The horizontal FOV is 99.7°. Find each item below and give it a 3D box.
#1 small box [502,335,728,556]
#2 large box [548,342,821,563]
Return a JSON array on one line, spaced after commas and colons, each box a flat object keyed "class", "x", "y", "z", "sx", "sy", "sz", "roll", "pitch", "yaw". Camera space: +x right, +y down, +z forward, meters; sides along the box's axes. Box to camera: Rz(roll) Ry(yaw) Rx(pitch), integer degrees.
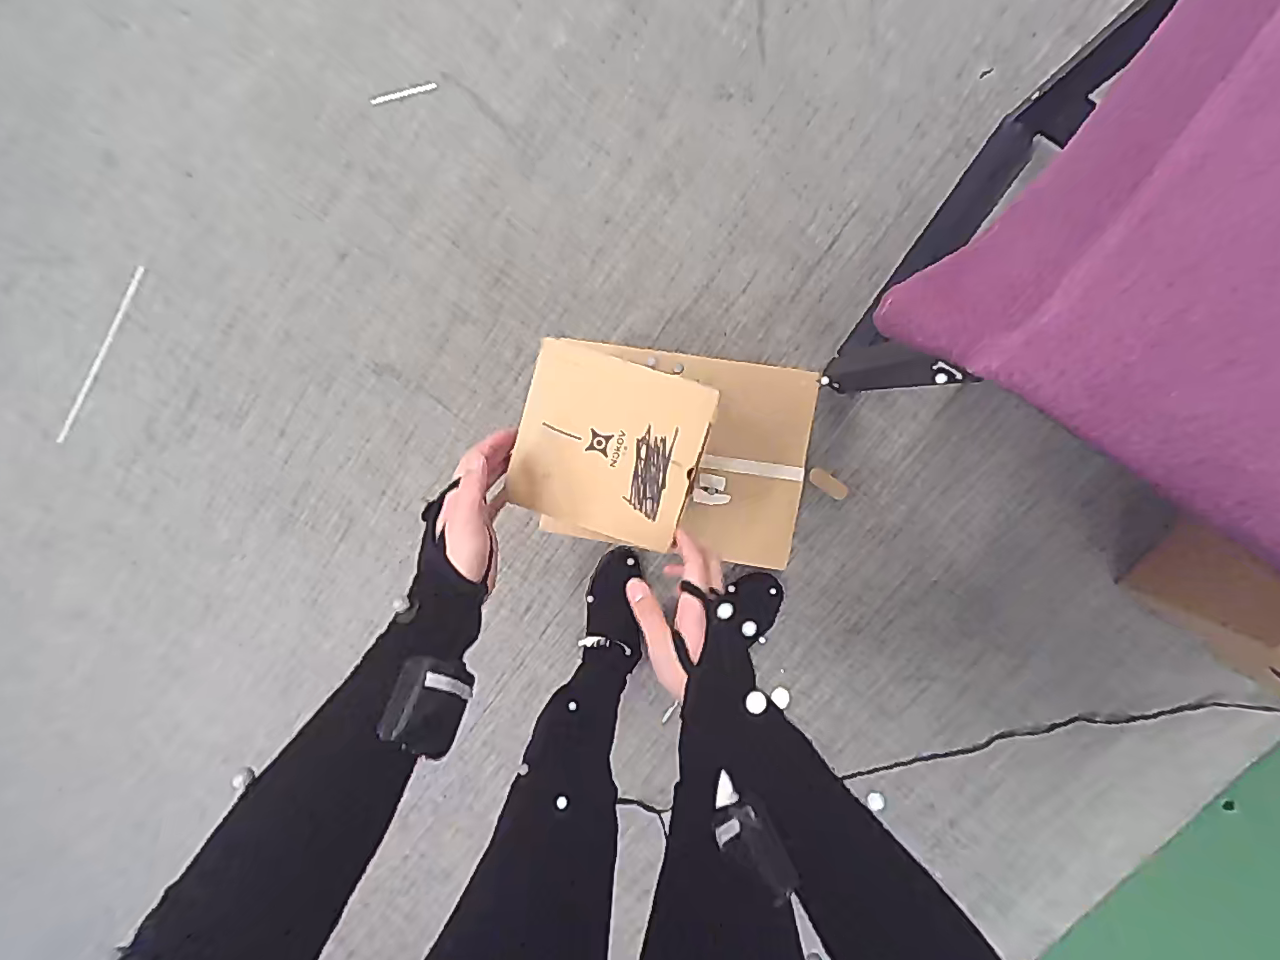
[{"class": "small box", "x": -0.019, "y": -0.042, "z": 0.592, "sx": 0.179, "sy": 0.176, "sz": 0.168, "roll": 22, "pitch": 98, "yaw": 3}, {"class": "large box", "x": 0.072, "y": -0.060, "z": 0.996, "sx": 0.408, "sy": 0.320, "sz": 0.320, "roll": 8, "pitch": 99, "yaw": 3}]
